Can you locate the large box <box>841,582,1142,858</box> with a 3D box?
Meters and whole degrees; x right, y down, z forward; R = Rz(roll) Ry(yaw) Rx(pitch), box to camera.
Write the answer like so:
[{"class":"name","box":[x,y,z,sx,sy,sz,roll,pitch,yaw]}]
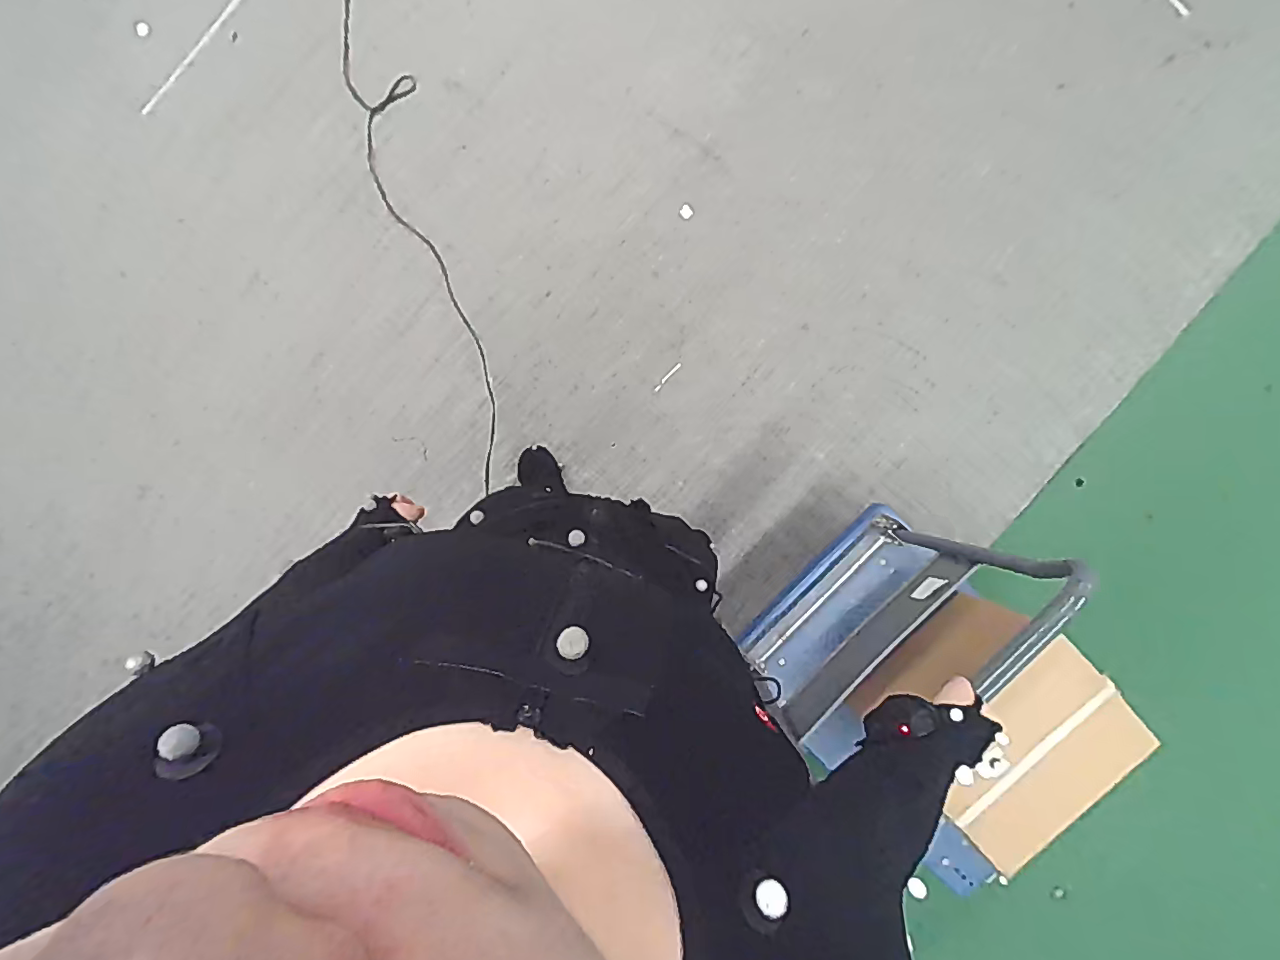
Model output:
[{"class":"large box","box":[0.747,0.501,1.212,0.408,0.320,0.320,-43,92,2]}]
